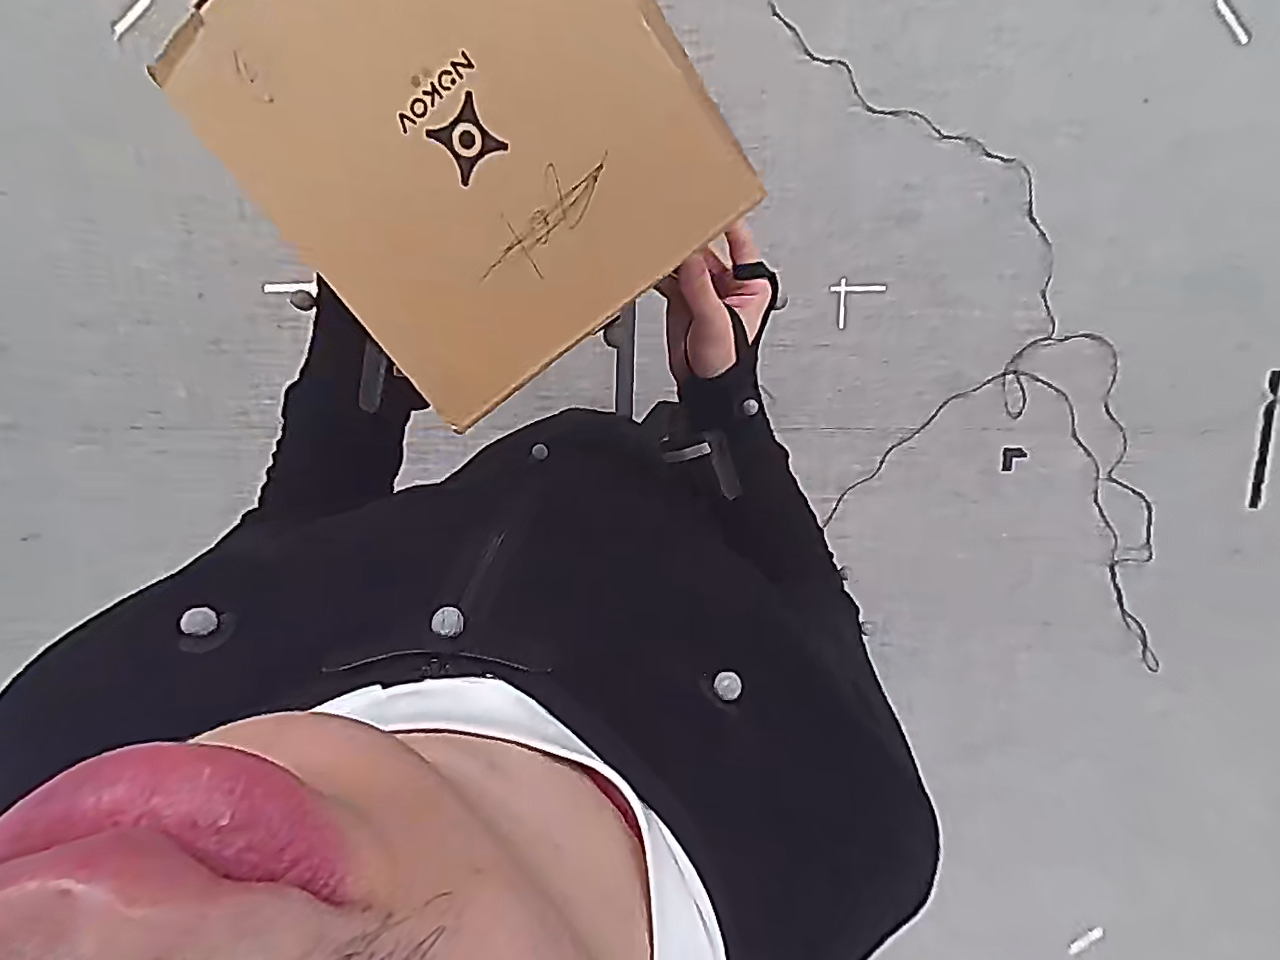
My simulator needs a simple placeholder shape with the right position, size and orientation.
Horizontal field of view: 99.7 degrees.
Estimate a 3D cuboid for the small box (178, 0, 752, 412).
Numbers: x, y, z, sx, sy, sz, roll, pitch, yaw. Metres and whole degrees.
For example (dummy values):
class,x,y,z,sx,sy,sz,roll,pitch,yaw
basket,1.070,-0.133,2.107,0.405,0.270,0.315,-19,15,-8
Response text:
class,x,y,z,sx,sy,sz,roll,pitch,yaw
small box,-0.066,-0.166,0.292,0.168,0.176,0.179,-34,106,14
